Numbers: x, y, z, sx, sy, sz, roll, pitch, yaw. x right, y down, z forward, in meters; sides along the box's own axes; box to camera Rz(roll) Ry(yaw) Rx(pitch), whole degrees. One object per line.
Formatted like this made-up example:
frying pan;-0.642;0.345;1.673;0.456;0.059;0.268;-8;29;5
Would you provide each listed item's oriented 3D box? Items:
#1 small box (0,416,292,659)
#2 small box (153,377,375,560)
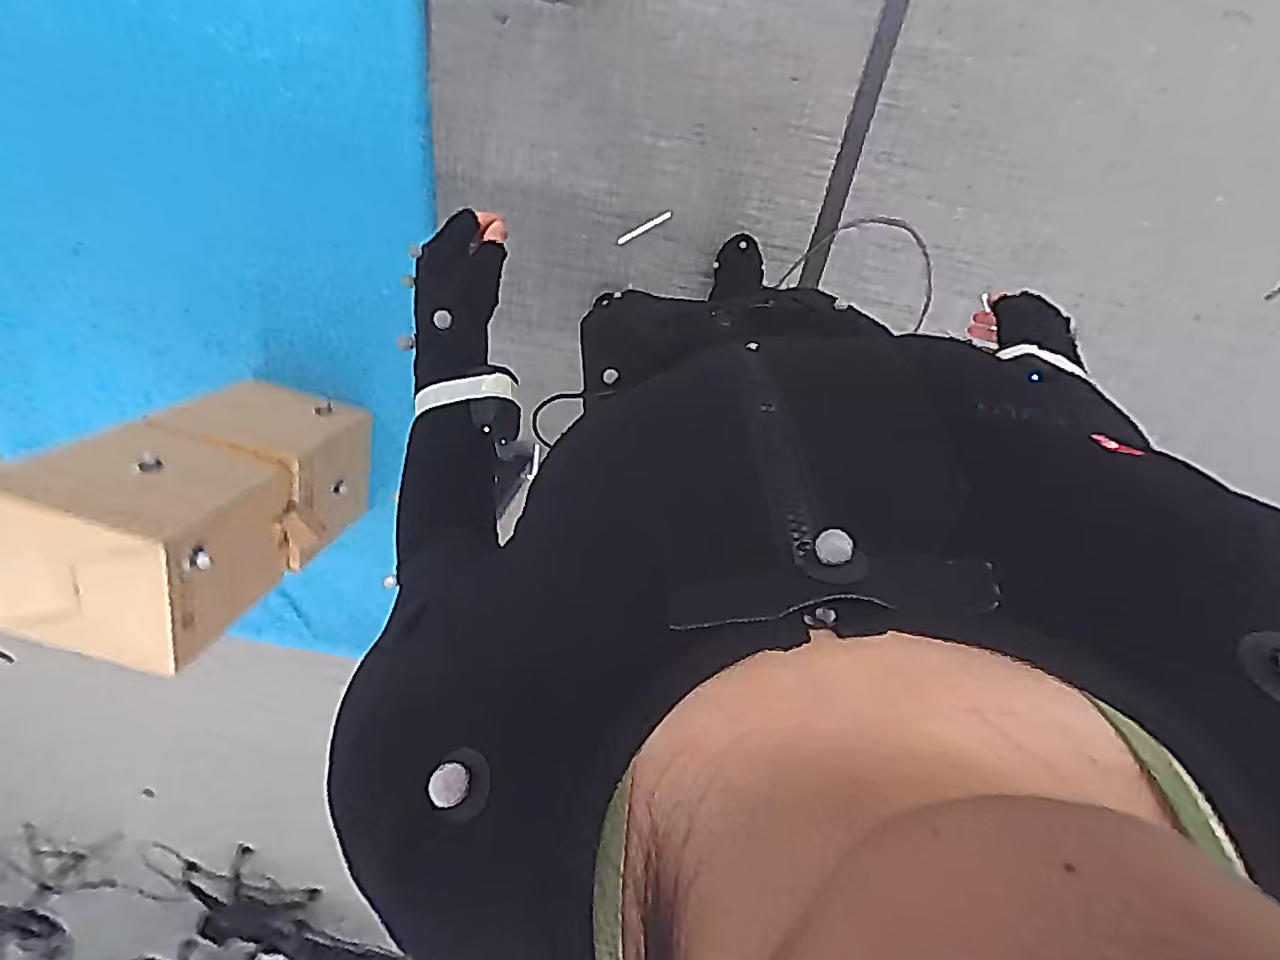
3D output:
small box;-0.504;0.058;0.566;0.179;0.176;0.168;18;115;-5
small box;-0.478;-0.017;0.711;0.179;0.176;0.168;15;115;-2
